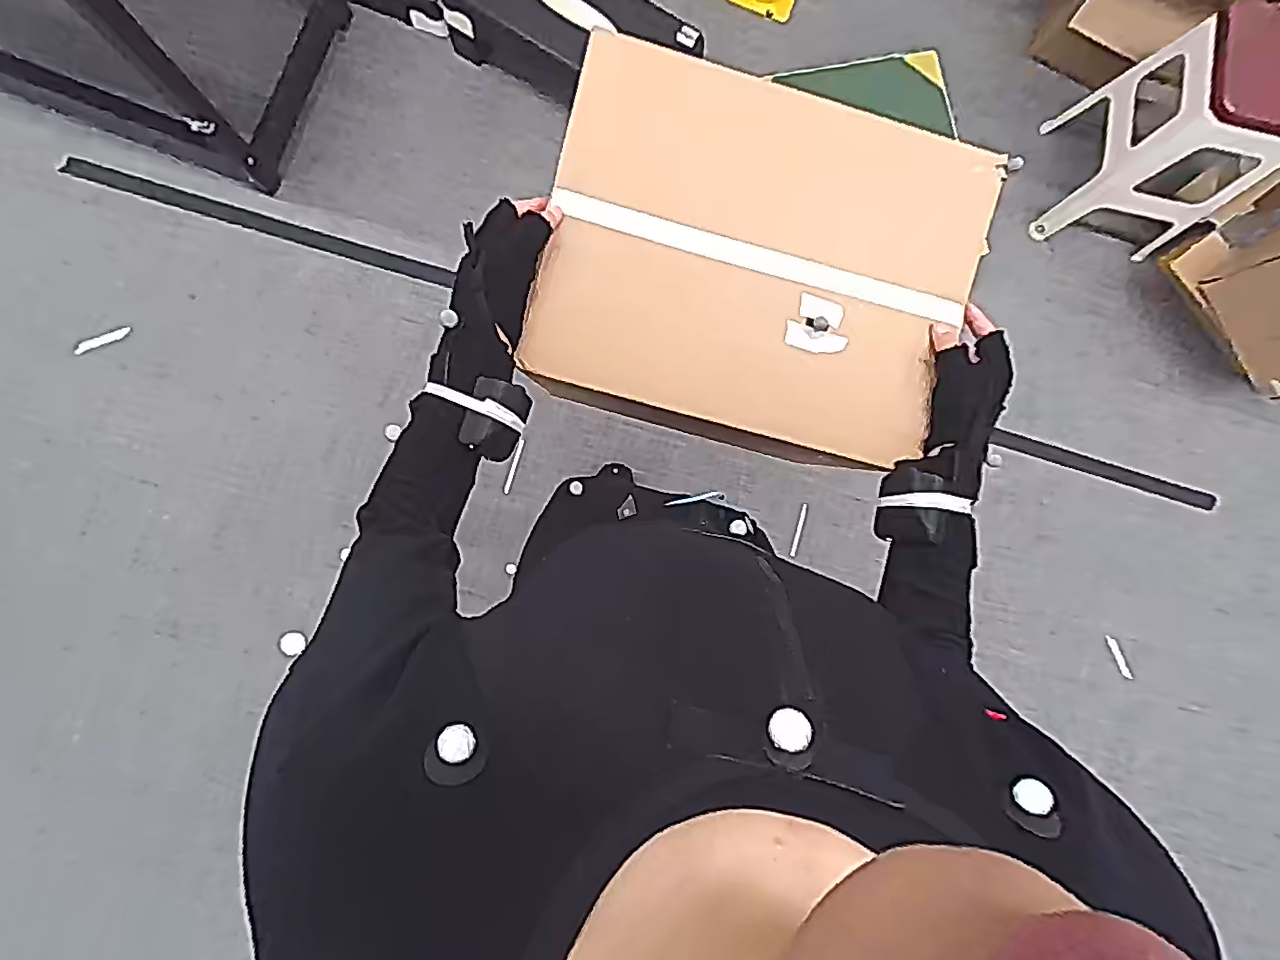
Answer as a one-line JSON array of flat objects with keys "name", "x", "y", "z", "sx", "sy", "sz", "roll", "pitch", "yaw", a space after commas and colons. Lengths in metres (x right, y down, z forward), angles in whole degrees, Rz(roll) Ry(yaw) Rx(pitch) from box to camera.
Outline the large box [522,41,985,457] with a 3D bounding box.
[{"name": "large box", "x": 0.103, "y": -0.227, "z": 0.673, "sx": 0.408, "sy": 0.320, "sz": 0.320, "roll": 15, "pitch": 94, "yaw": -5}]
